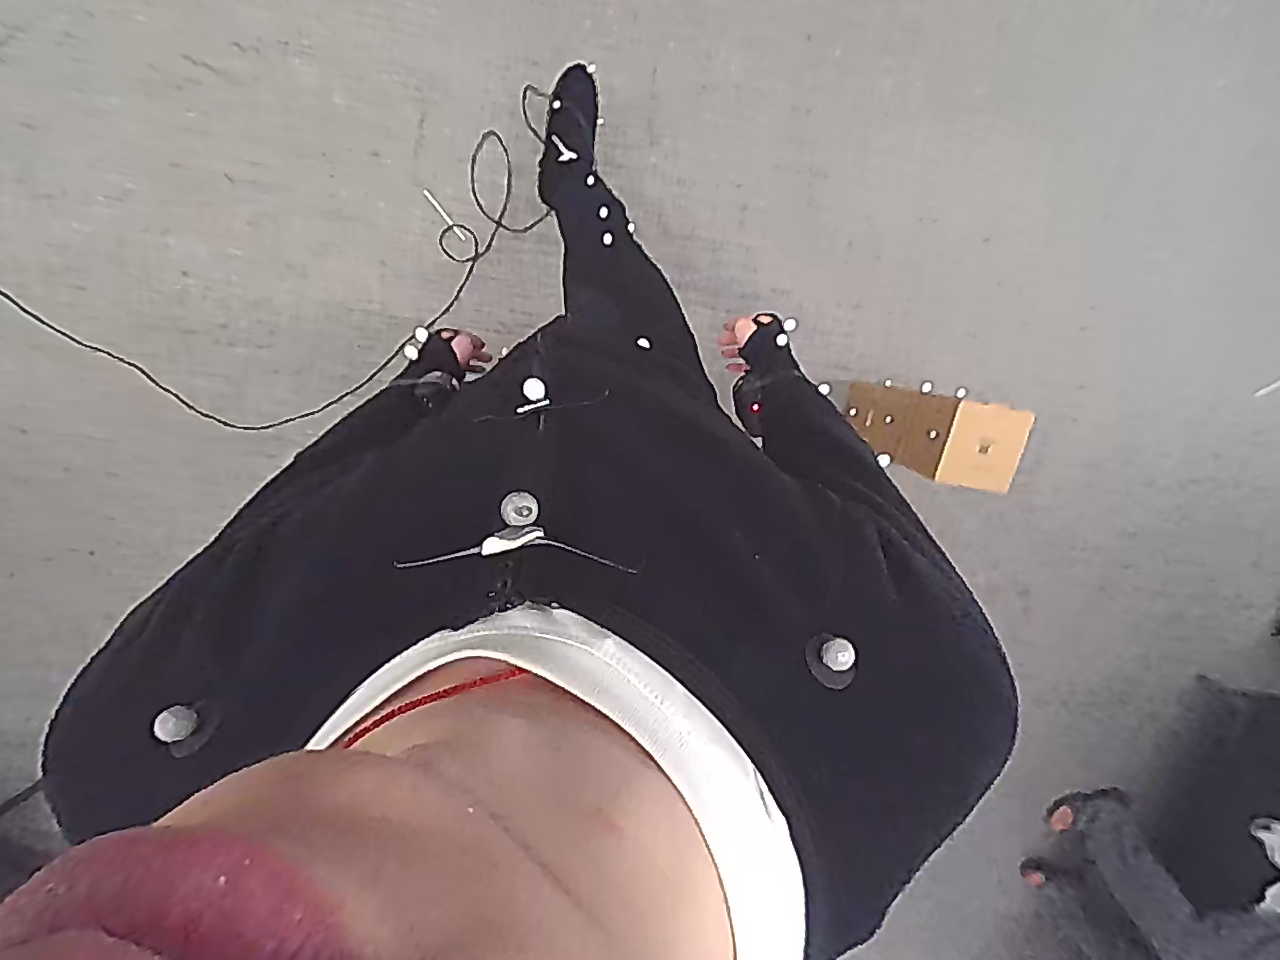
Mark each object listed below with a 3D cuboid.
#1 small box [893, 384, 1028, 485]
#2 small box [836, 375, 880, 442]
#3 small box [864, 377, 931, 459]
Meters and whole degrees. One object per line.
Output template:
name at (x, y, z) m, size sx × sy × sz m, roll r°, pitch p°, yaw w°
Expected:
small box at (0.688, -0.107, 1.185) m, size 0.168 × 0.176 × 0.179 m, roll 8°, pitch 108°, yaw -6°
small box at (0.671, -0.192, 1.500) m, size 0.179 × 0.176 × 0.168 m, roll 9°, pitch 107°, yaw -6°
small box at (0.682, -0.149, 1.341) m, size 0.168 × 0.176 × 0.179 m, roll 7°, pitch 106°, yaw -7°
